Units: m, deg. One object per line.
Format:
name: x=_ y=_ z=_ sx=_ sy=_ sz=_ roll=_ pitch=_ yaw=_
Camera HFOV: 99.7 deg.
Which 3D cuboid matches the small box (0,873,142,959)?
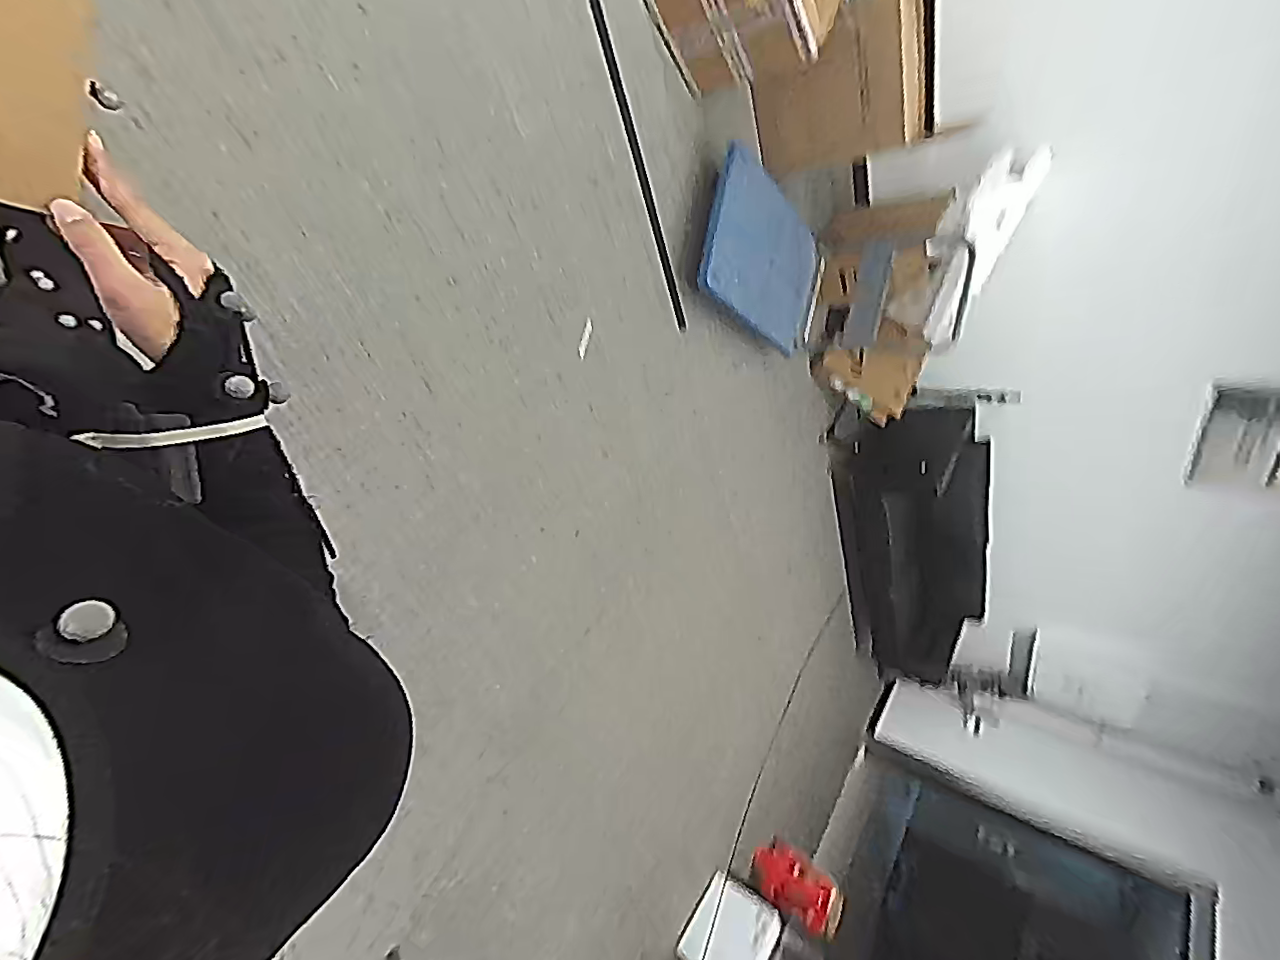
small box: x=-0.809 y=0.675 z=0.710 sx=0.179 sy=0.176 sz=0.168 roll=-43 pitch=129 yaw=-35
